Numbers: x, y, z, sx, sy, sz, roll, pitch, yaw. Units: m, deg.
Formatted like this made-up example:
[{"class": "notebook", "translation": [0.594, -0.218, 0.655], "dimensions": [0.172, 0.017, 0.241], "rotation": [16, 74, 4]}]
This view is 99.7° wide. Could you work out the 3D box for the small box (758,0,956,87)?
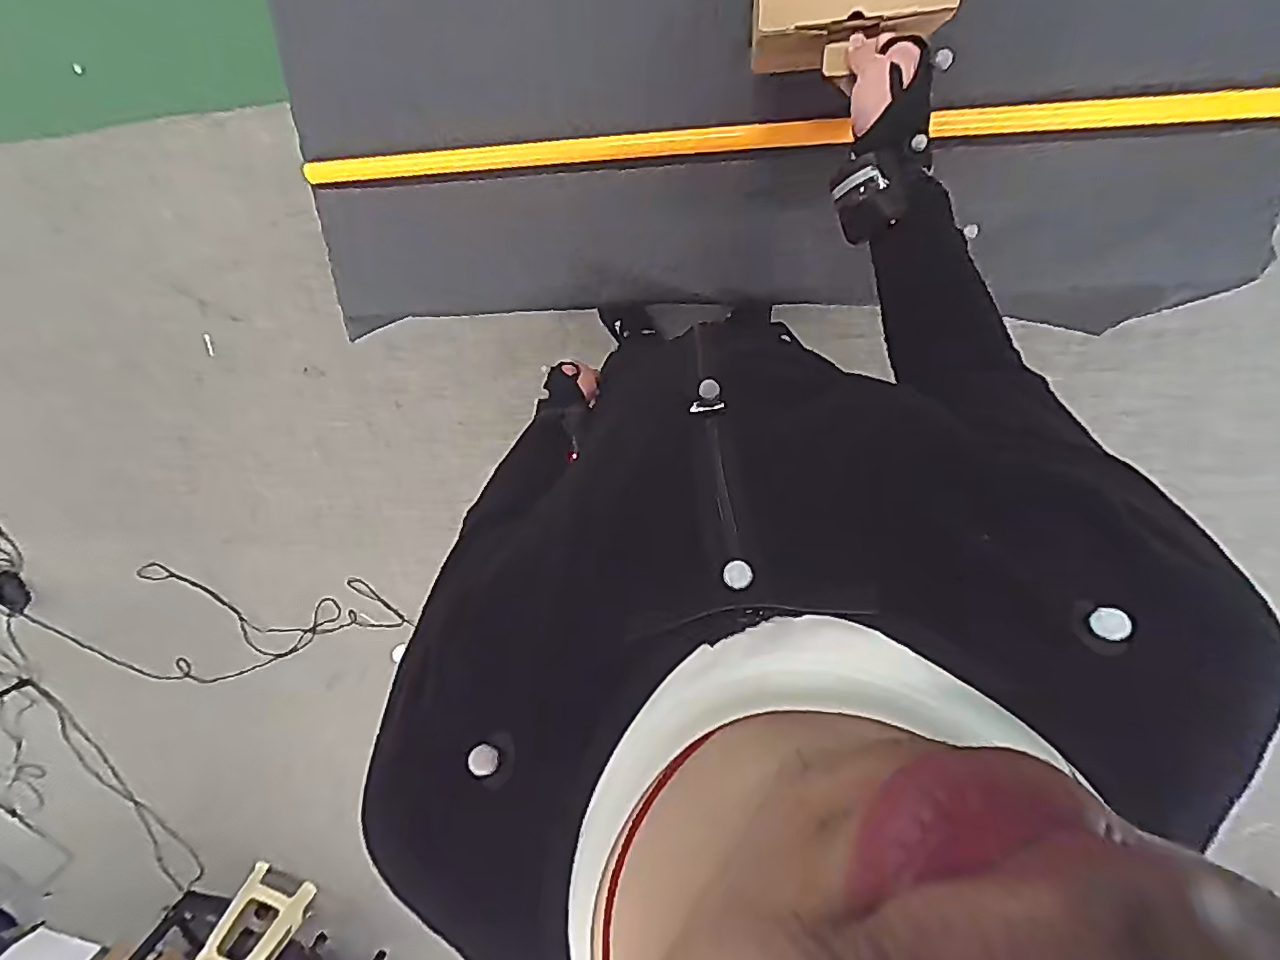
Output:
[{"class": "small box", "translation": [0.199, -0.498, 0.515], "dimensions": [0.168, 0.176, 0.179], "rotation": [-1, 116, 14]}]
